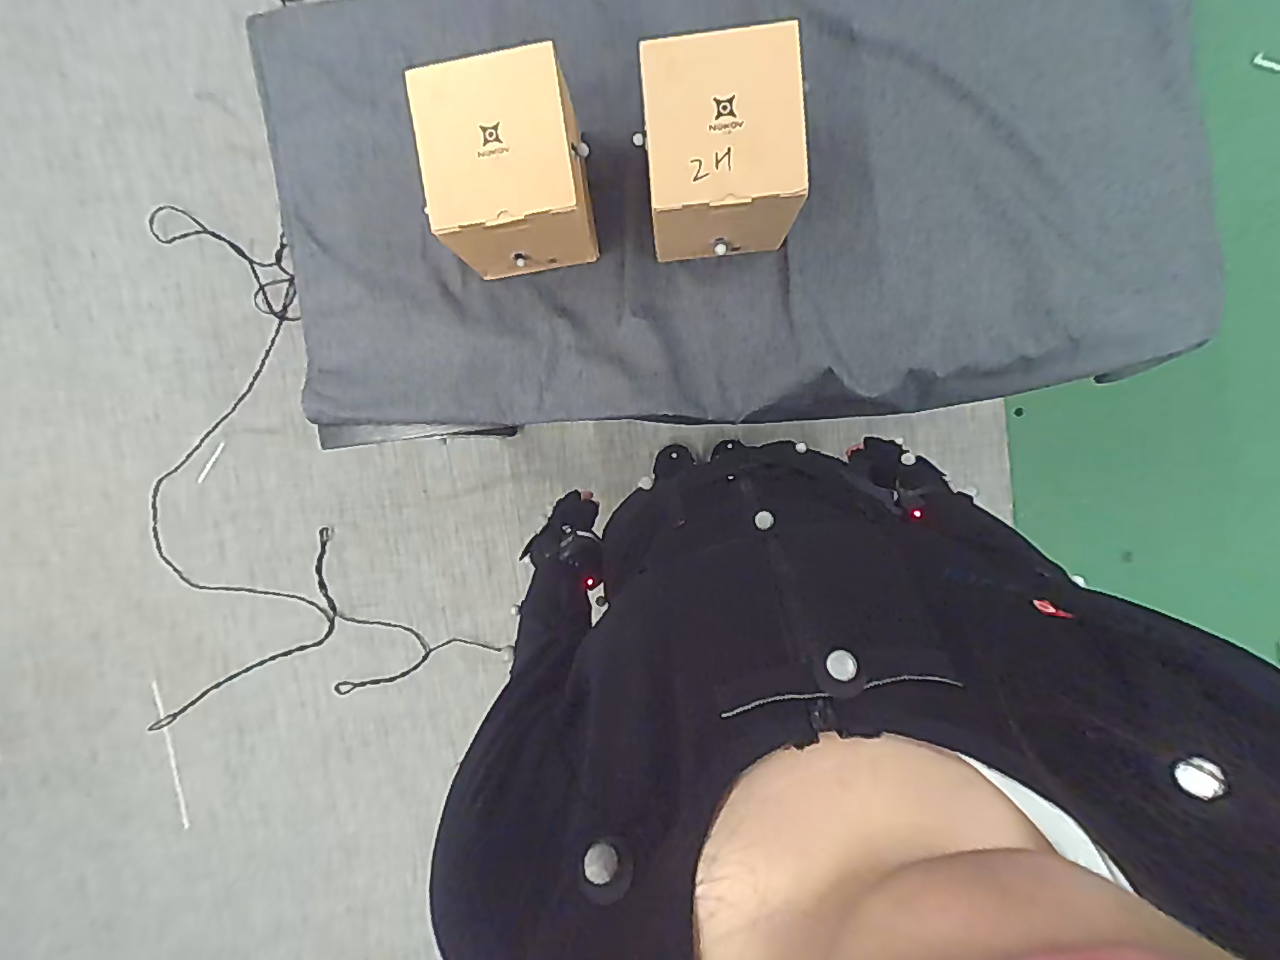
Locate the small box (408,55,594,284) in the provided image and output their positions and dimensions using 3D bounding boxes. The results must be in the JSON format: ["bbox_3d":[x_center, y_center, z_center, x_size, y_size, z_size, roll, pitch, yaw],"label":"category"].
[{"bbox_3d":[-0.158,-0.364,0.666,0.168,0.176,0.179,-8,93,4],"label":"small box"}]

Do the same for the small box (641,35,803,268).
[{"bbox_3d":[0.090,-0.375,0.648,0.168,0.176,0.179,-4,93,4],"label":"small box"}]
